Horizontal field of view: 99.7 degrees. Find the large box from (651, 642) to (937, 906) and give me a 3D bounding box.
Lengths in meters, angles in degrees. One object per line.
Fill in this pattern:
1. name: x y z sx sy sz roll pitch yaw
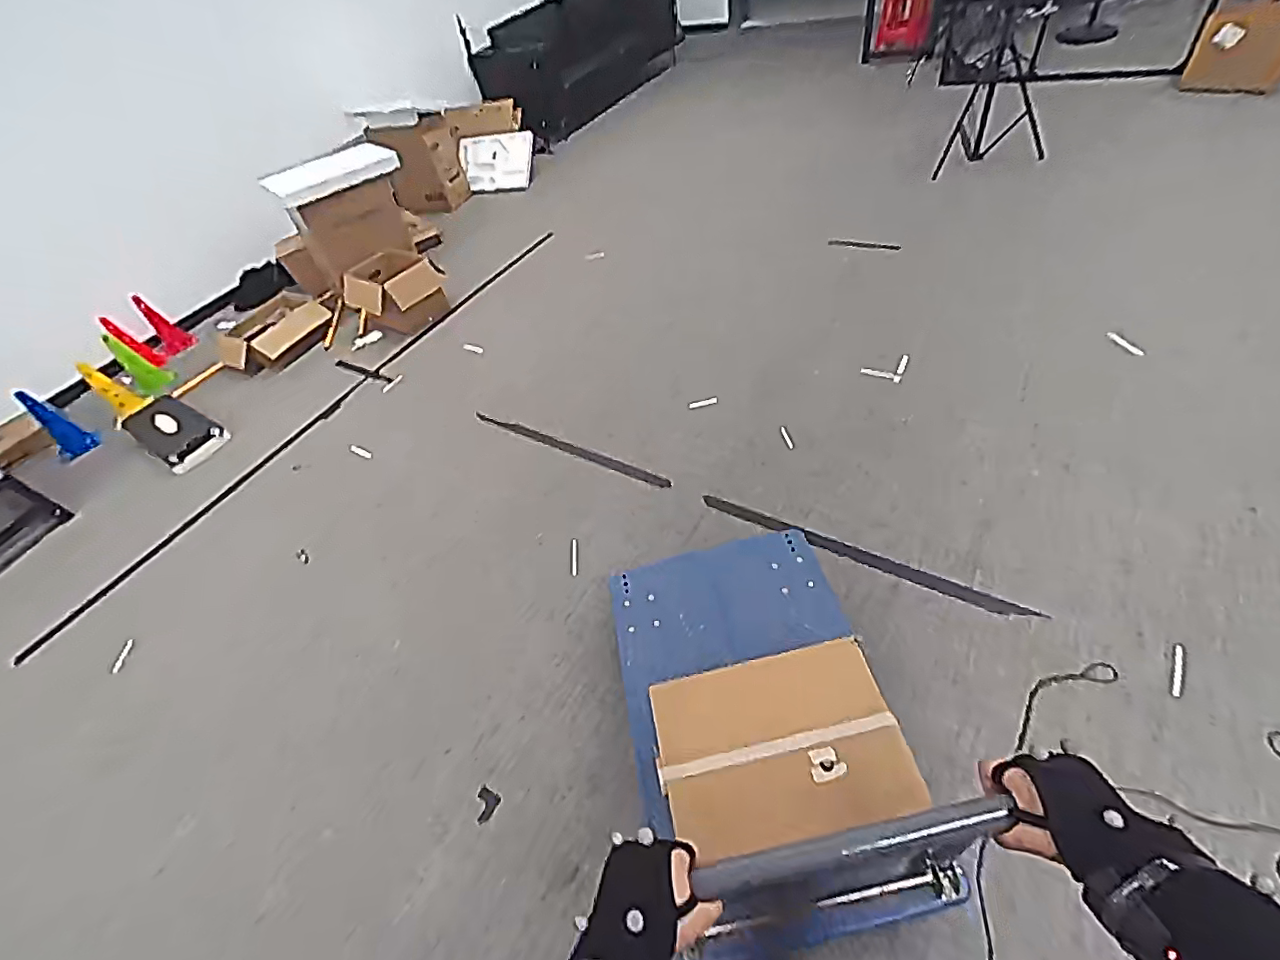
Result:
1. large box: 0.263 0.564 1.034 0.408 0.320 0.320 -14 47 0
